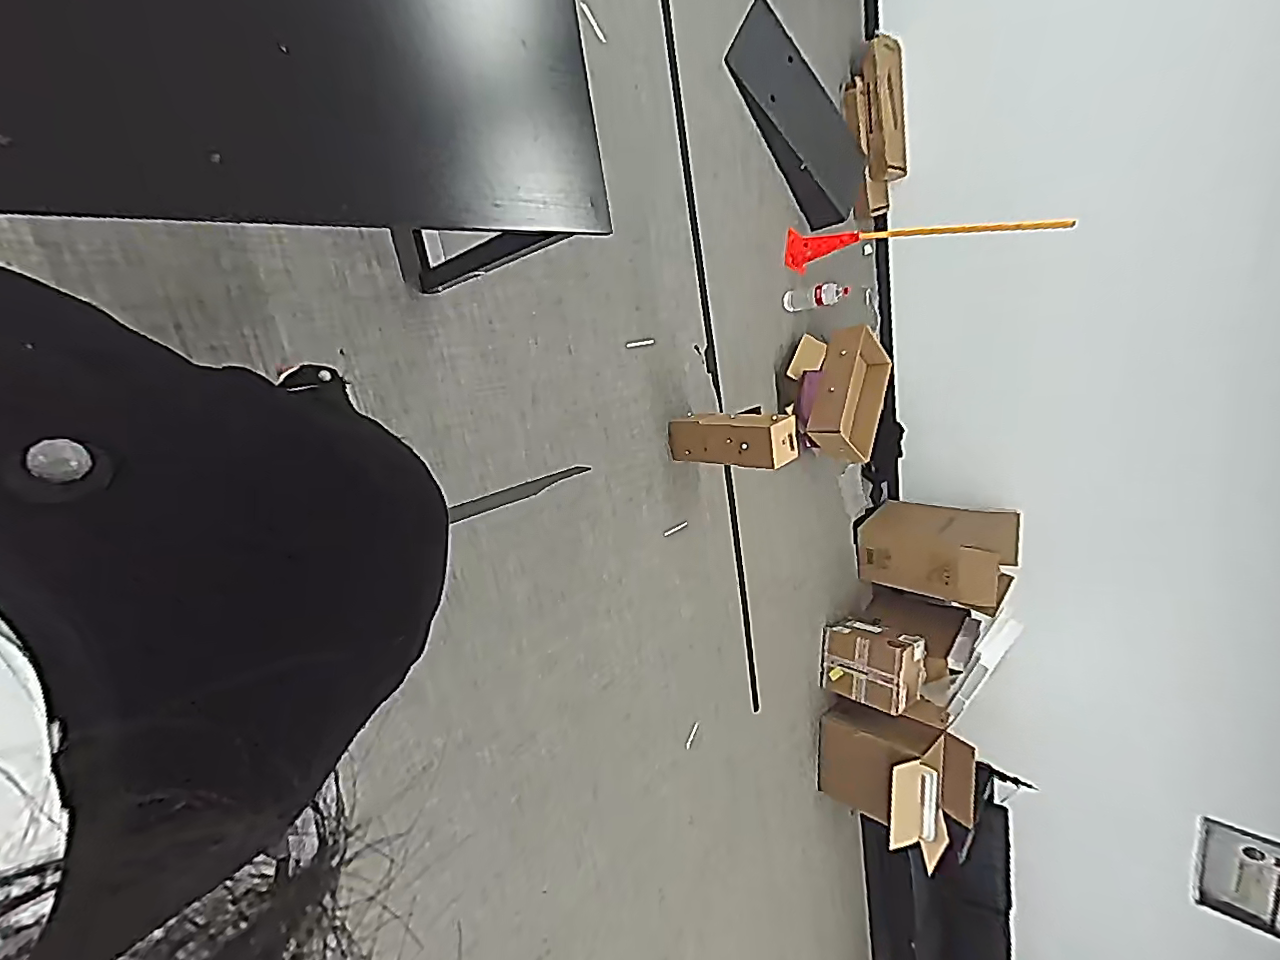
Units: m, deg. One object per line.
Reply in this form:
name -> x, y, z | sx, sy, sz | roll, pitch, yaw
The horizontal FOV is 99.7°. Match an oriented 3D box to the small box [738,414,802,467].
small box -> 0.491, -0.155, 2.042 | 0.179, 0.176, 0.168 | -25, 111, -40

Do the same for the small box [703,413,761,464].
small box -> 0.374, -0.171, 2.157 | 0.179, 0.176, 0.168 | -25, 111, -42

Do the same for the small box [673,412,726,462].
small box -> 0.260, -0.184, 2.274 | 0.168, 0.176, 0.179 | -23, 109, -42
